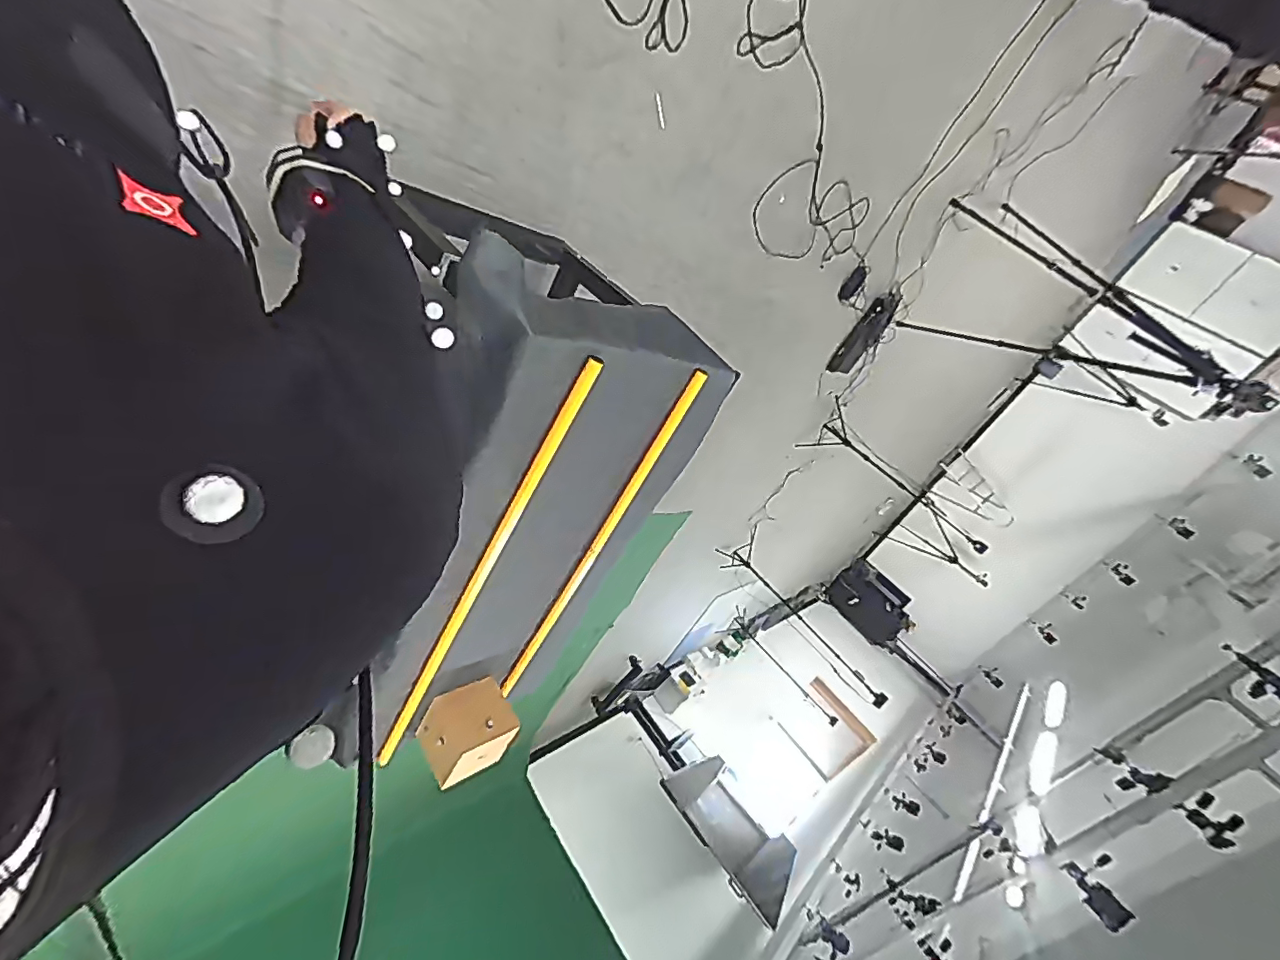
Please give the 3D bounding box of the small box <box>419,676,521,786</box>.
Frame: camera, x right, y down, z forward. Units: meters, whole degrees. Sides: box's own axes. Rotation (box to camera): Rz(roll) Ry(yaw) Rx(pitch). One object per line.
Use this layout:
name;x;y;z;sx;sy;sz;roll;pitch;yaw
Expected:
small box;-0.453;0.651;1.422;0.179;0.176;0.168;-4;132;-51
